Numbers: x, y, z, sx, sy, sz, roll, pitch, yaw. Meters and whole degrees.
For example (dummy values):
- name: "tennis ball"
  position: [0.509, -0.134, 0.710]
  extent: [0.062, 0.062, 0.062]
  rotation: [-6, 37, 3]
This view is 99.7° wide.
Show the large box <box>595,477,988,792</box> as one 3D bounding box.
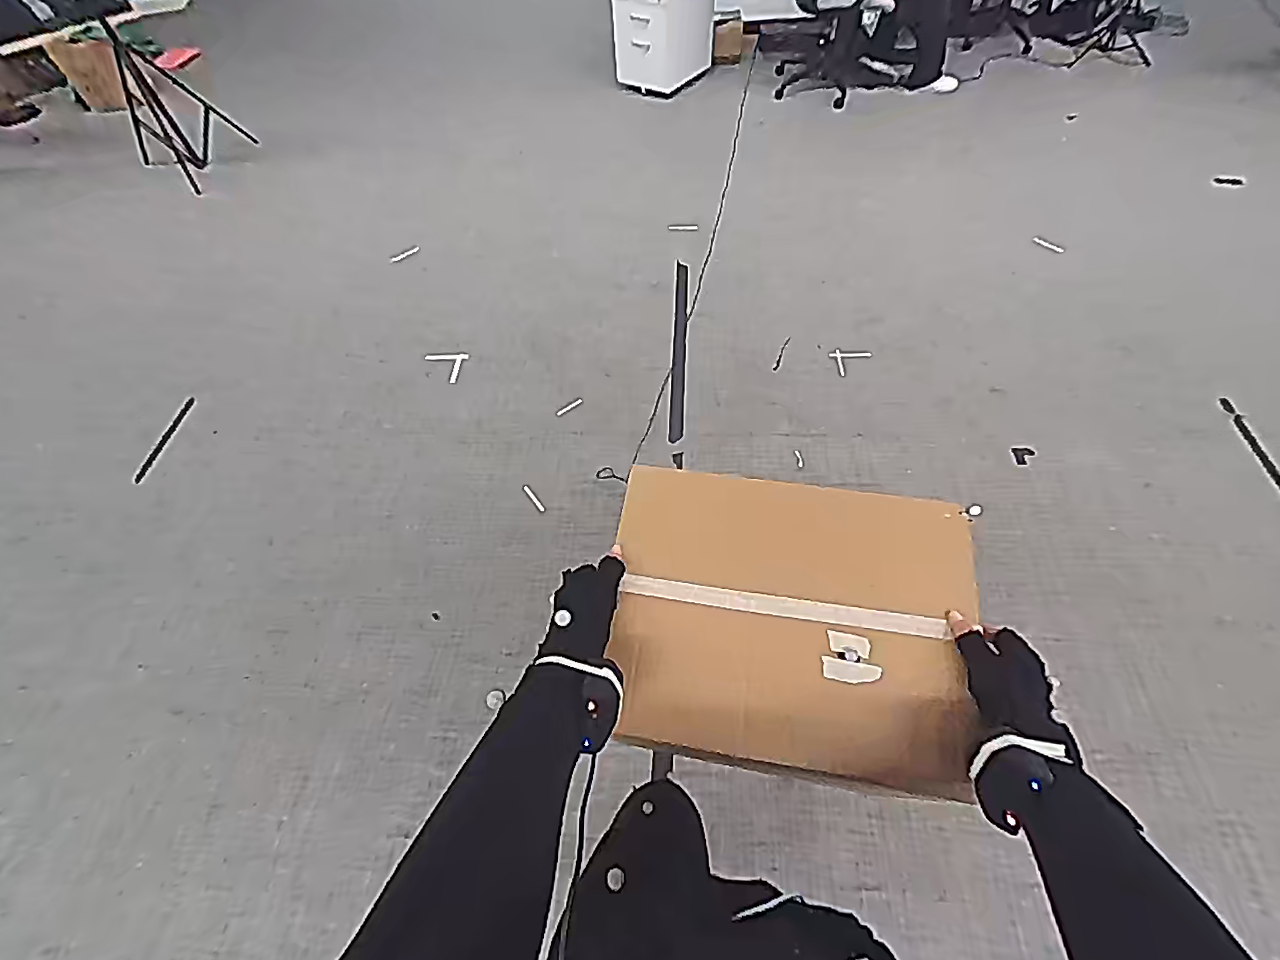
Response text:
- name: "large box"
  position: [0.175, 0.220, 0.749]
  extent: [0.408, 0.320, 0.320]
  rotation: [7, 63, 7]
